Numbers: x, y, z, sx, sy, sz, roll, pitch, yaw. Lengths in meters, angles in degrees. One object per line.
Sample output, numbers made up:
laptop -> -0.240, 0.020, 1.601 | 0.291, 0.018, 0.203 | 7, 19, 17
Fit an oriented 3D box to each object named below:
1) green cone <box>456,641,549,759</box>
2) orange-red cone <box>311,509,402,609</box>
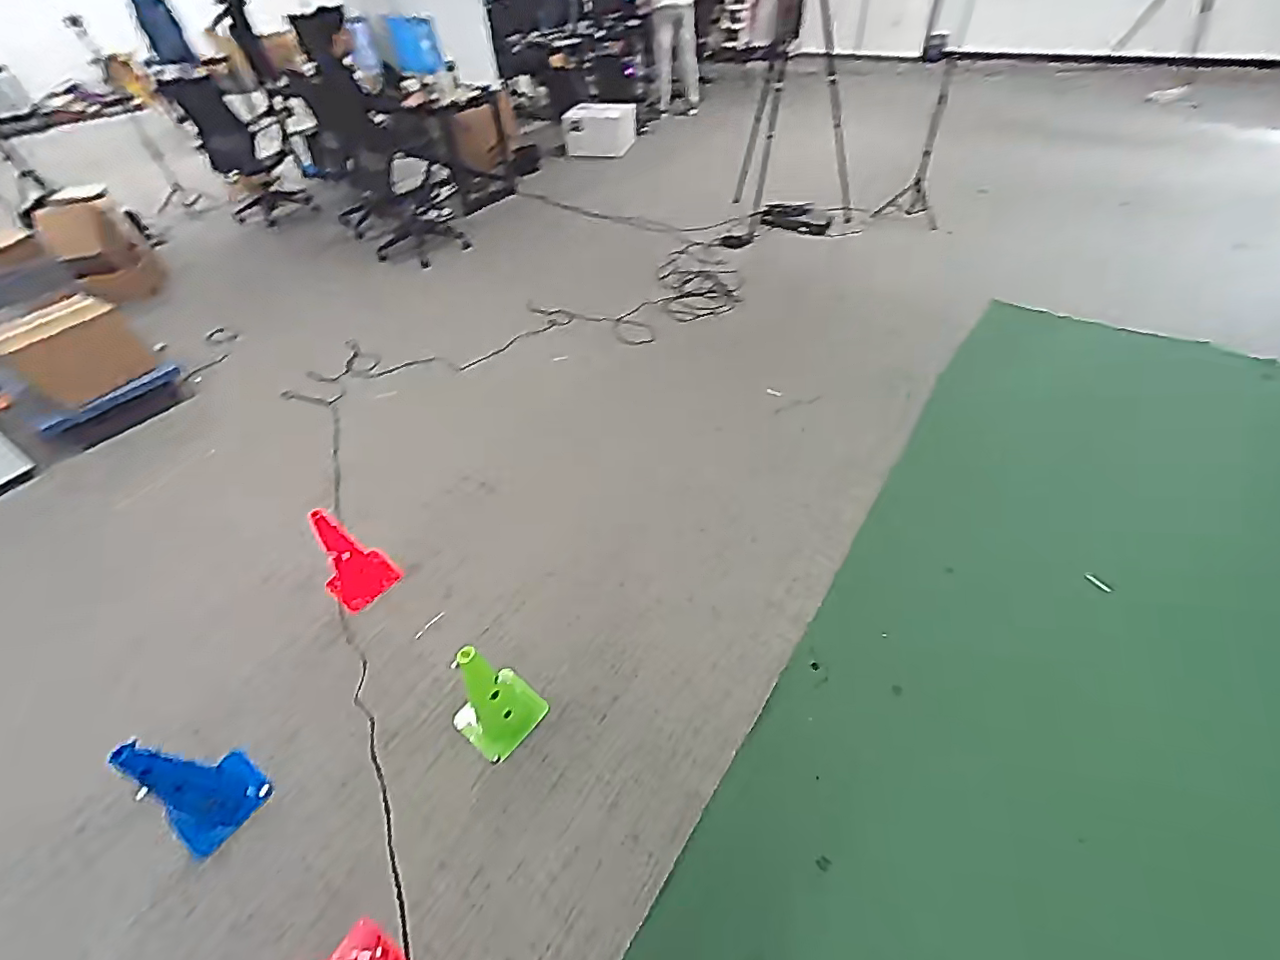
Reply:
green cone -> -0.395, 0.523, 1.397 | 0.202, 0.368, 0.200 | 27, 53, 29
orange-red cone -> -0.959, 0.219, 1.749 | 0.199, 0.360, 0.198 | 31, 56, 28
